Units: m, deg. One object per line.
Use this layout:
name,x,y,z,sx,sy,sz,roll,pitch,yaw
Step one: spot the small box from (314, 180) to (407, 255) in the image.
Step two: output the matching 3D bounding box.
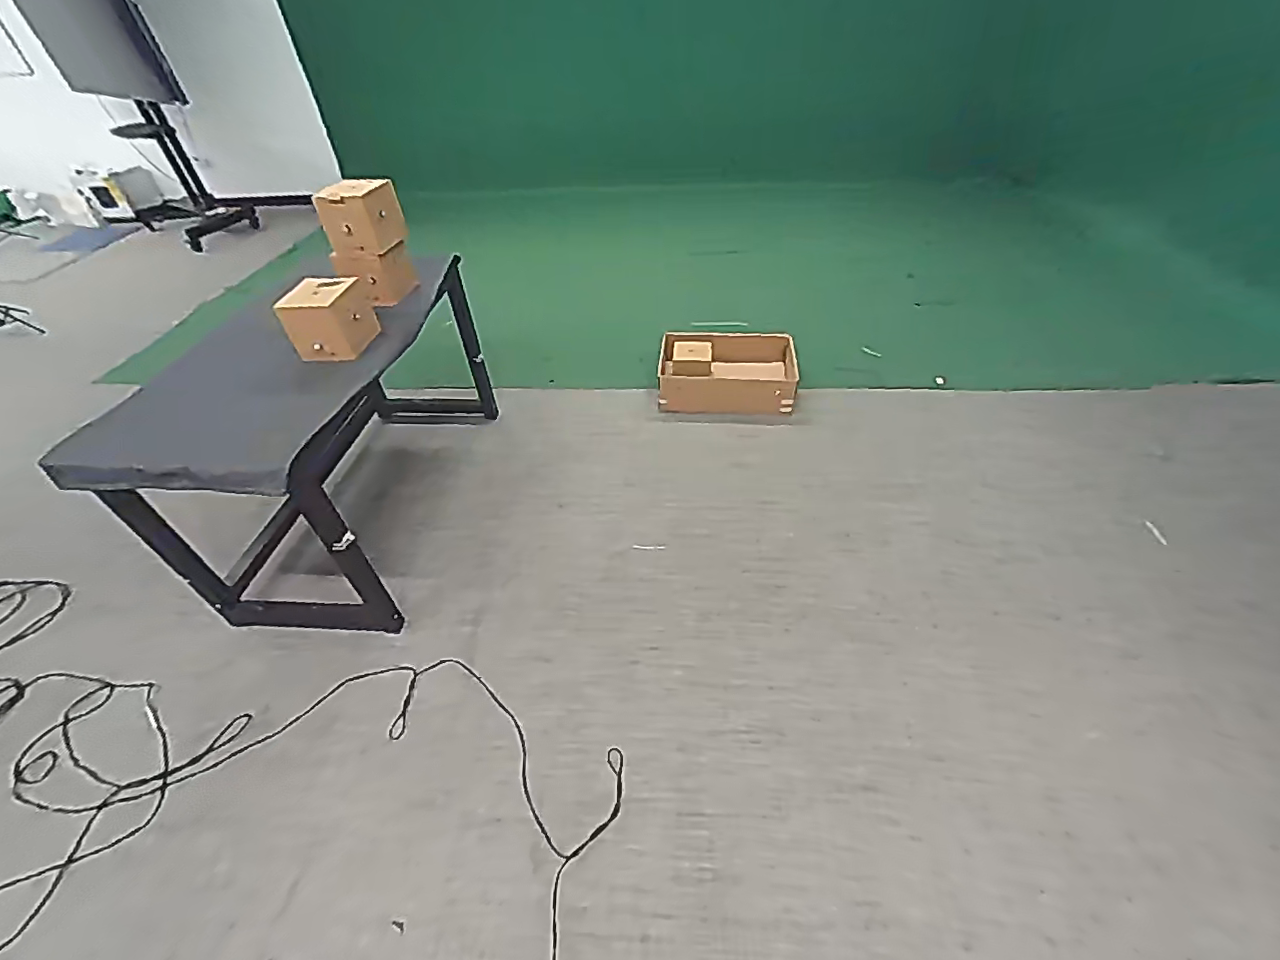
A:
small box,-0.854,-0.811,1.675,0.168,0.176,0.179,6,44,10

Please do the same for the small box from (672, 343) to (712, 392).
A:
small box,0.242,-0.524,2.528,0.179,0.176,0.168,3,45,5

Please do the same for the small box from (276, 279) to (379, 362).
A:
small box,-0.872,-0.453,1.532,0.168,0.176,0.179,1,45,7

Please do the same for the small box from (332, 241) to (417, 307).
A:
small box,-0.863,-0.684,1.780,0.168,0.176,0.179,4,43,7
